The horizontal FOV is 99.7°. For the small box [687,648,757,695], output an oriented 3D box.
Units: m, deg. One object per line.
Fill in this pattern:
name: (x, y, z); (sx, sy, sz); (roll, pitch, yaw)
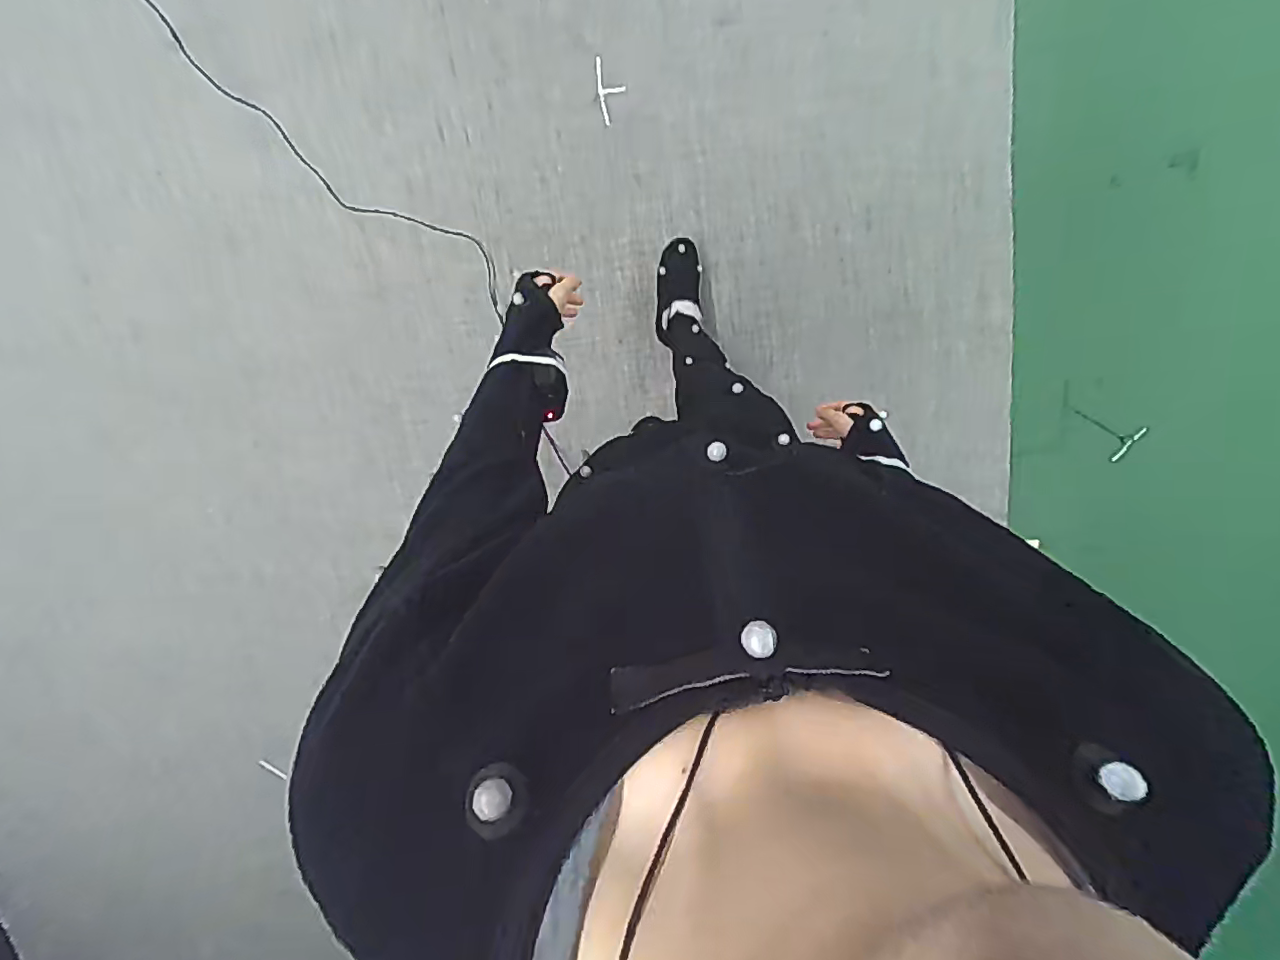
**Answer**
small box: (0.238, 0.613, 1.560); (0.179, 0.176, 0.168); (-13, 103, 0)

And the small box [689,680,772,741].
small box: (0.238, 0.645, 1.398); (0.179, 0.176, 0.168); (-14, 103, 0)
